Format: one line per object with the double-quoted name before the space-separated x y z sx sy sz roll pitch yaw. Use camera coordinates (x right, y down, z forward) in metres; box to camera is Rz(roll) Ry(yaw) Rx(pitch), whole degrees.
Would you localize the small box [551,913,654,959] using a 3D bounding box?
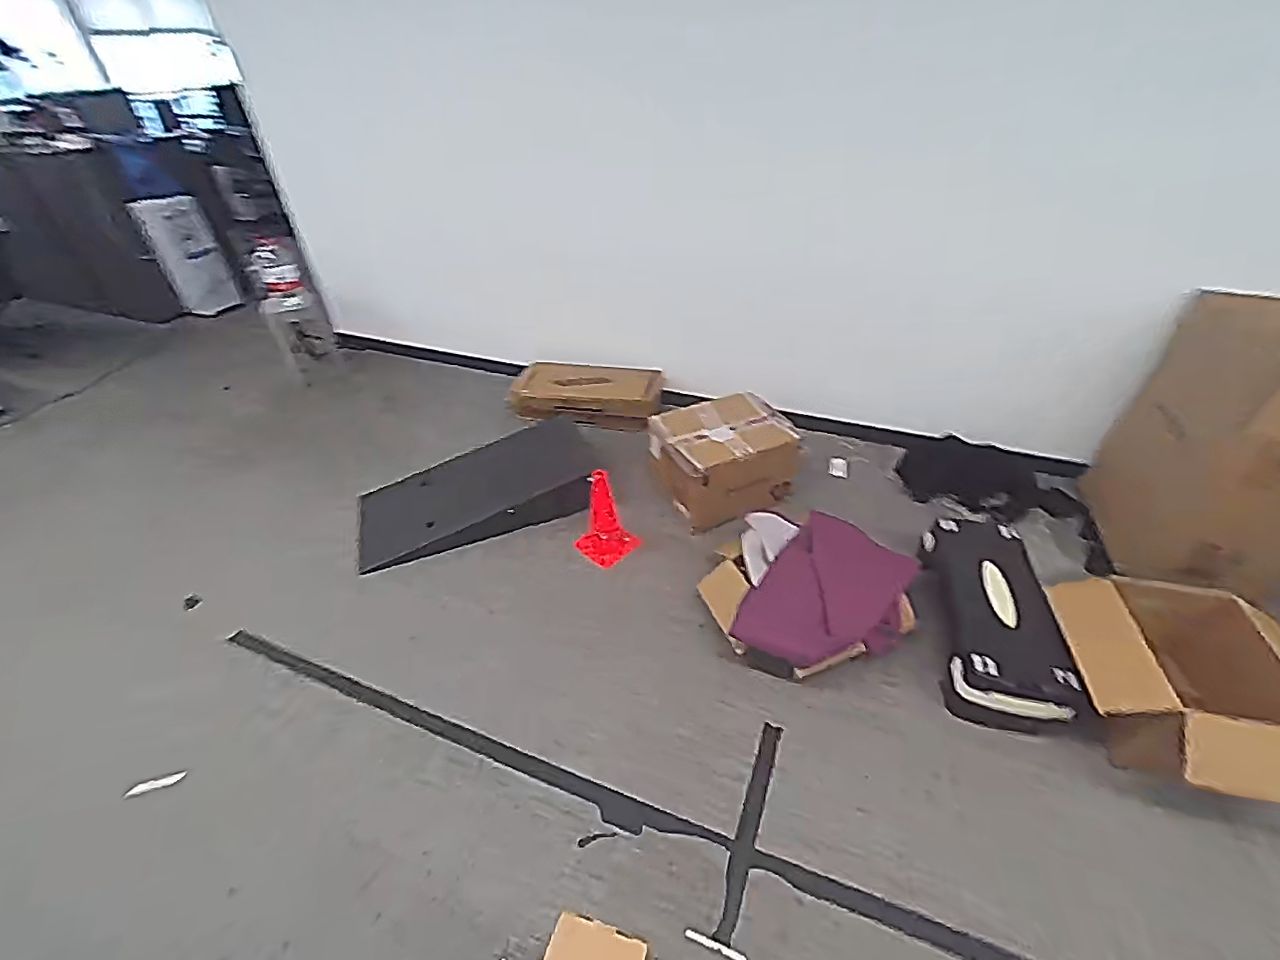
"small box" -0.078 0.902 0.932 0.168 0.176 0.179 9 41 17
